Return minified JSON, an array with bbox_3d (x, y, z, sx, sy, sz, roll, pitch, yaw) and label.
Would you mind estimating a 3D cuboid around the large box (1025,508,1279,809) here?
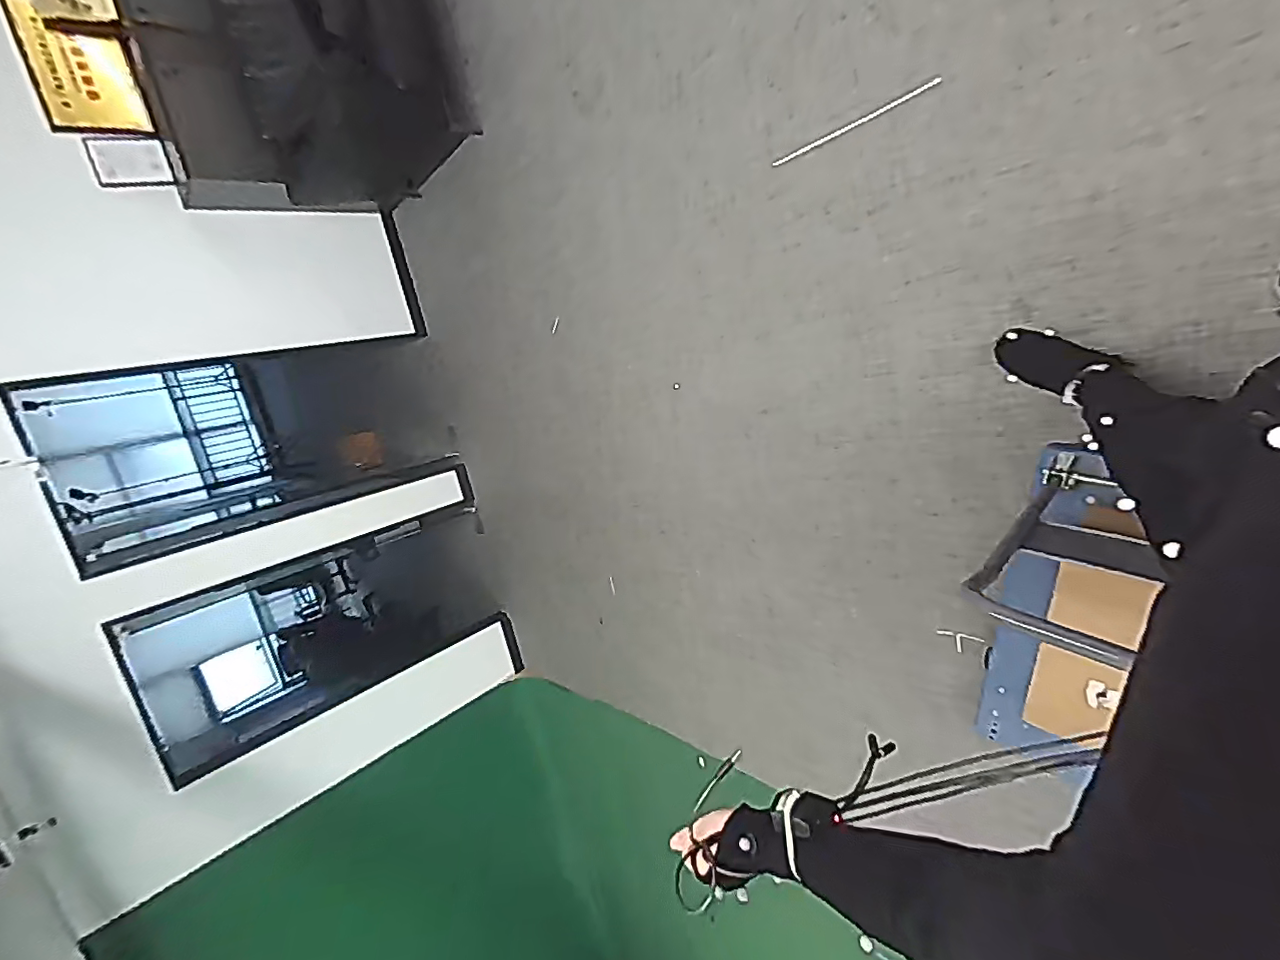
[{"bbox_3d":[1.007,0.312,1.064,0.320,0.320,0.408,17,119,43],"label":"large box"}]
